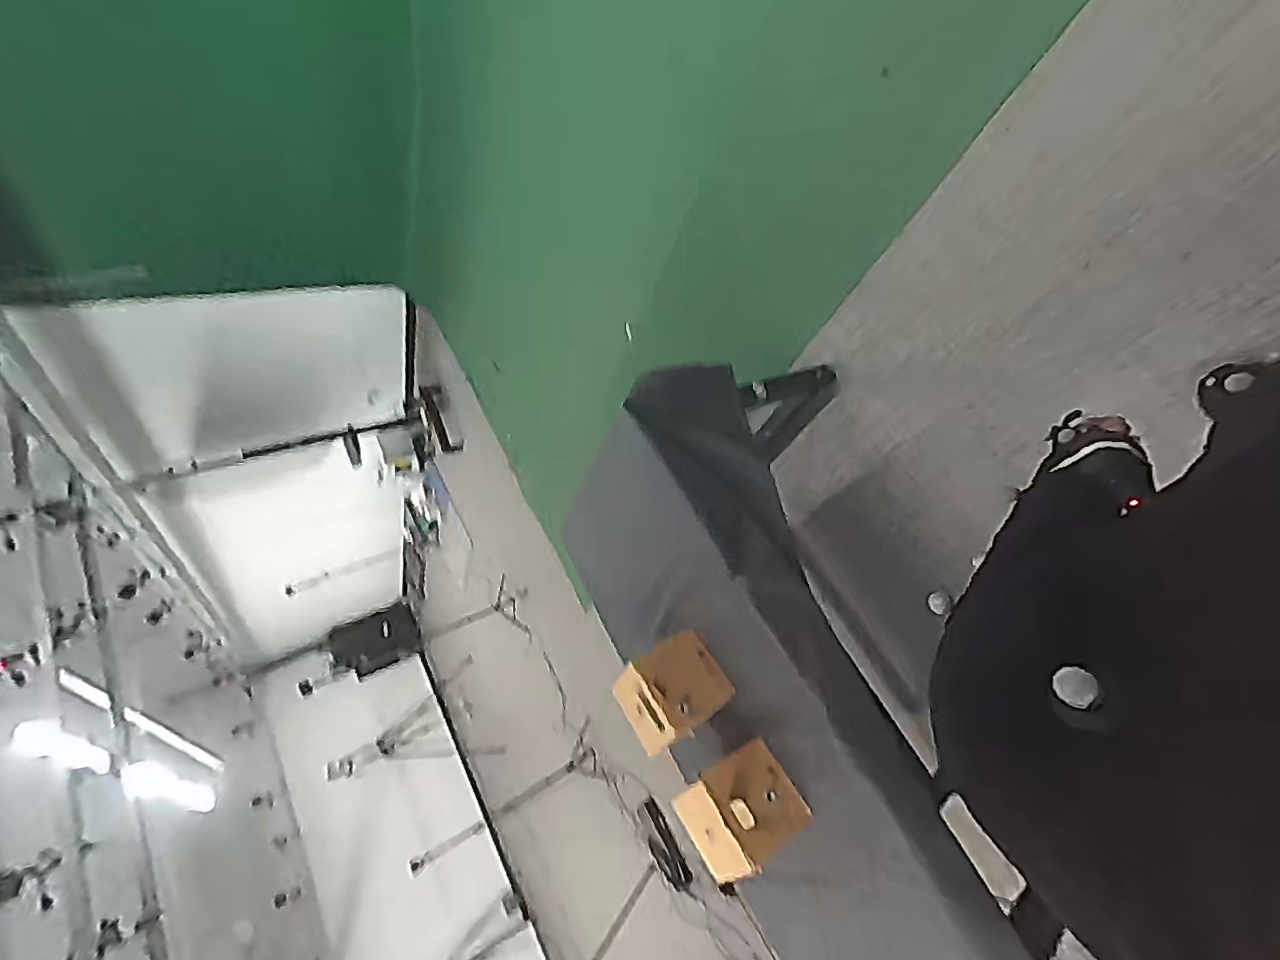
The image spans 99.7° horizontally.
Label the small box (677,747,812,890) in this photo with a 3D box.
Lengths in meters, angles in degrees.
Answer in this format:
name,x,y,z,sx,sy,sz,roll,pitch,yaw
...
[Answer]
name,x,y,z,sx,sy,sz,roll,pitch,yaw
small box,0.207,0.667,1.072,0.168,0.176,0.179,53,142,27
